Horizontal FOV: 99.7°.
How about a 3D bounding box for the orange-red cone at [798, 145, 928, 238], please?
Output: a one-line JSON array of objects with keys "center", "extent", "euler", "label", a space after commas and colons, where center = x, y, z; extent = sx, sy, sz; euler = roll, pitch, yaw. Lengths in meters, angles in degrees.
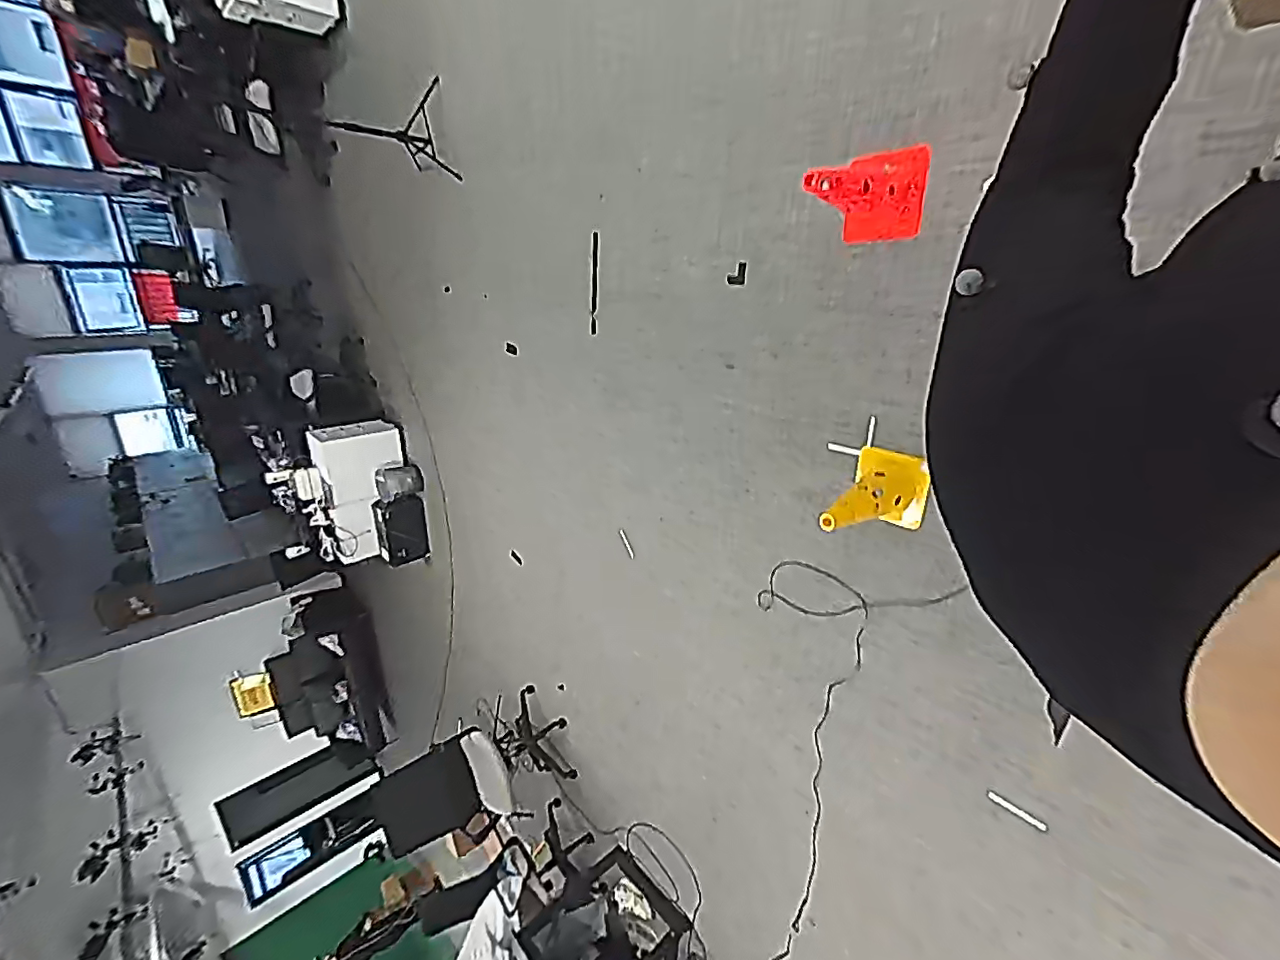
[{"center": [0.479, -0.672, 1.243], "extent": [0.198, 0.360, 0.199], "euler": [21, 120, 44], "label": "orange-red cone"}]
